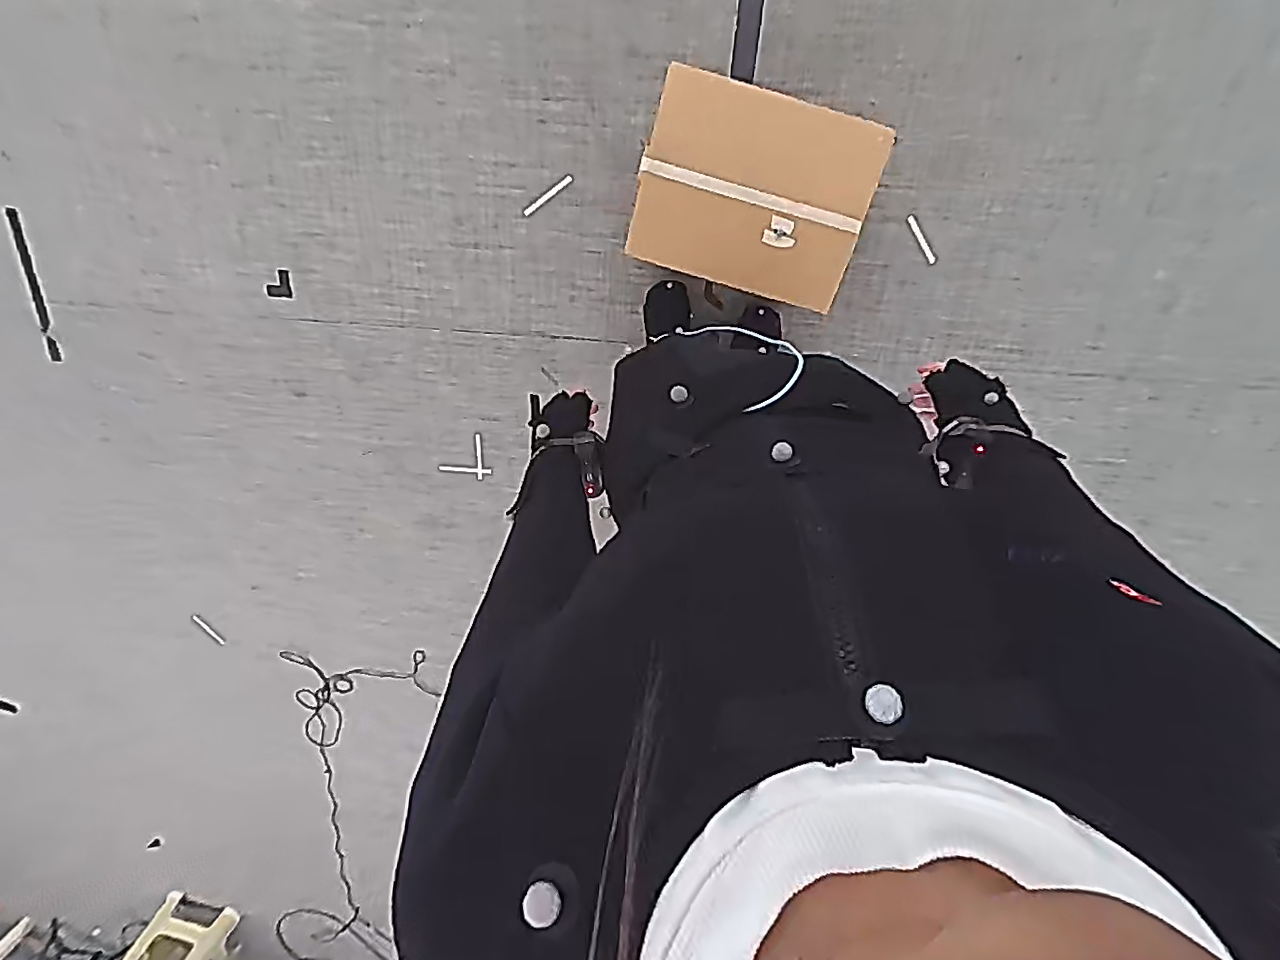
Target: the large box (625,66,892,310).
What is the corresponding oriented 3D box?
[{"bbox_3d":[0.208,-0.562,1.100,0.408,0.320,0.320,16,113,-2],"label":"large box"}]
